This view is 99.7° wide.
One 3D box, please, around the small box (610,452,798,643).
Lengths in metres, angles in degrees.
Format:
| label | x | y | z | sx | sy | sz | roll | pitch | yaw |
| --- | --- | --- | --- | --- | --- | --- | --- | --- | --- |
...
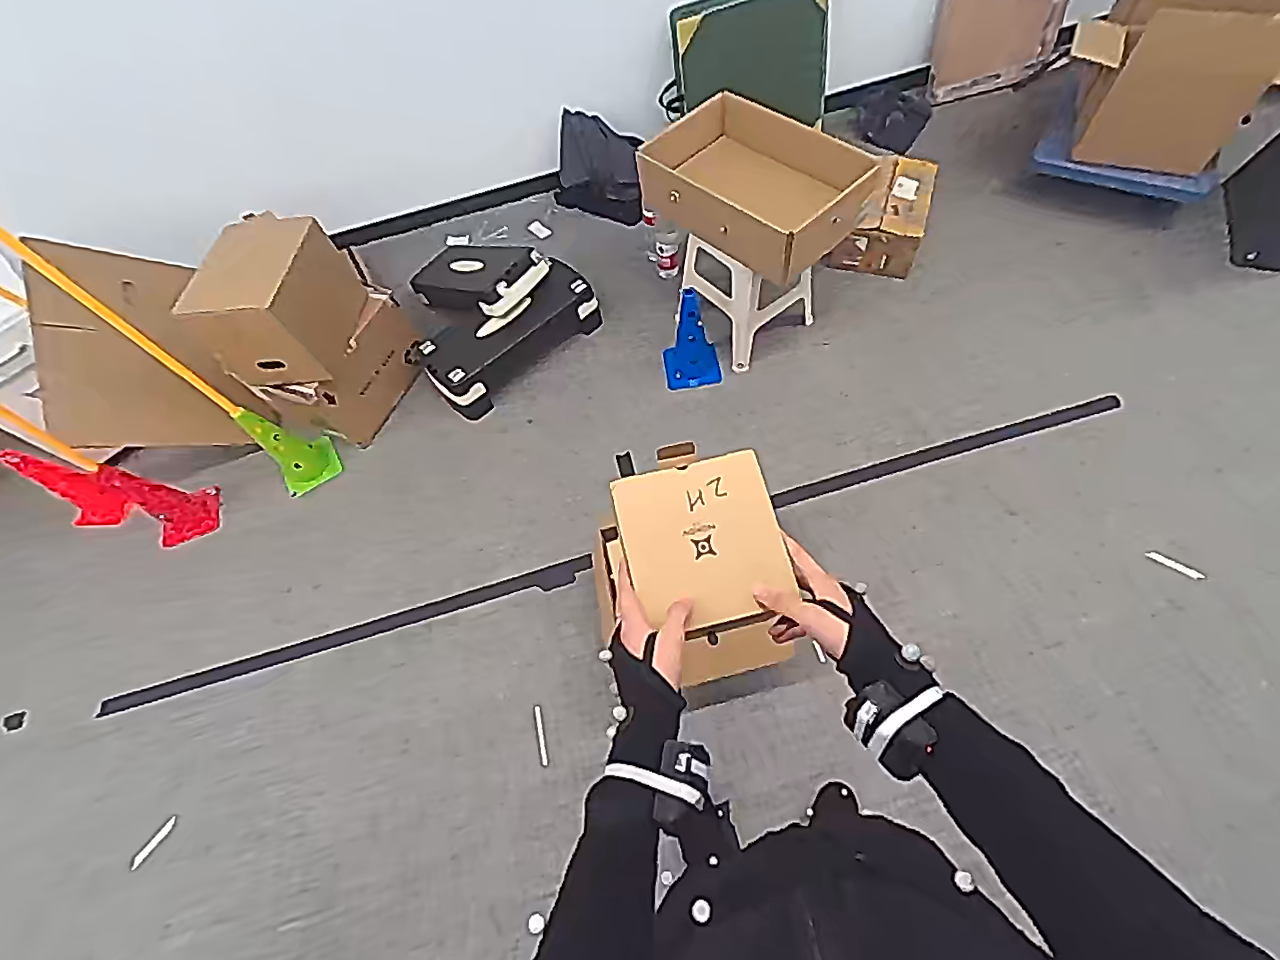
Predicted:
| label | x | y | z | sx | sy | sz | roll | pitch | yaw |
| --- | --- | --- | --- | --- | --- | --- | --- | --- | --- |
| small box | 0.066 | 0.091 | 0.646 | 0.168 | 0.176 | 0.179 | -13 | 70 | -4 |
